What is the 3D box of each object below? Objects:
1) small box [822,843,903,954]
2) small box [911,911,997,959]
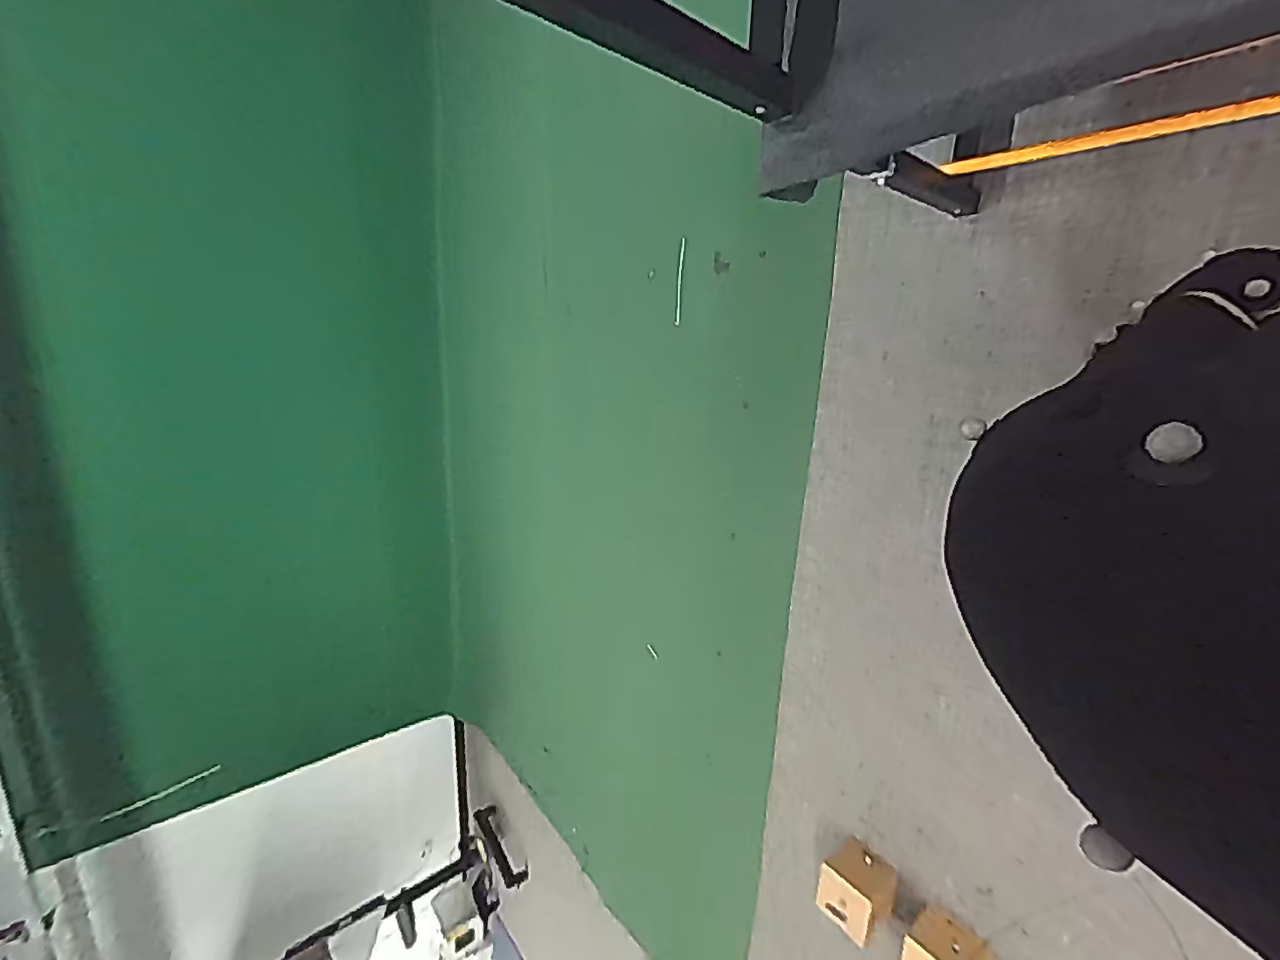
[{"bbox_3d":[0.692,1.290,1.679,0.168,0.176,0.179,19,110,49],"label":"small box"},{"bbox_3d":[0.858,1.353,1.484,0.168,0.176,0.179,17,110,49],"label":"small box"}]
